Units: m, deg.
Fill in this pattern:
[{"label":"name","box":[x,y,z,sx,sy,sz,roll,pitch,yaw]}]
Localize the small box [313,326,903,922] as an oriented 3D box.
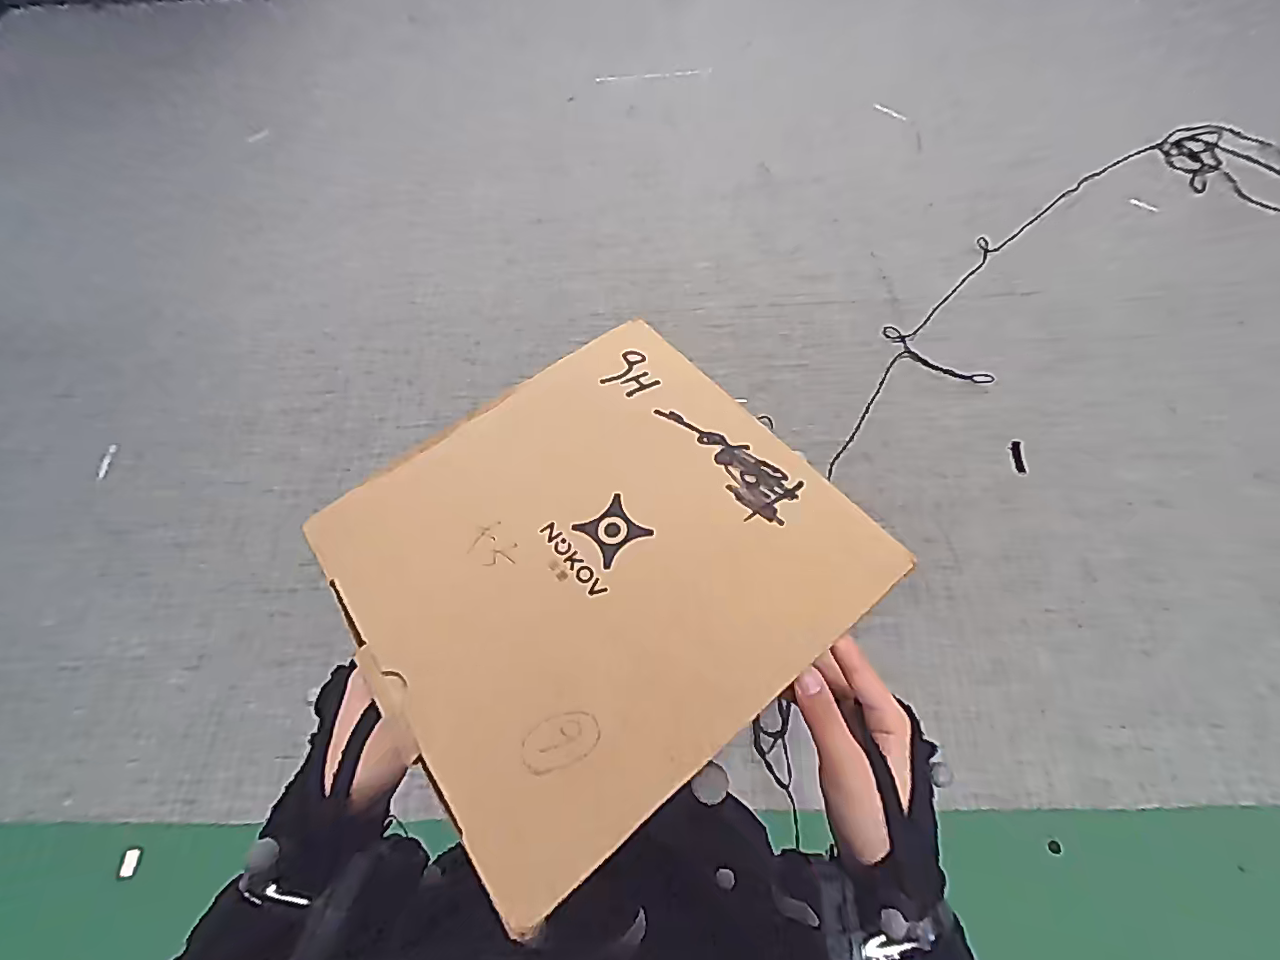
[{"label":"small box","box":[-0.012,0.065,0.276,0.179,0.176,0.168,-36,64,-15]}]
